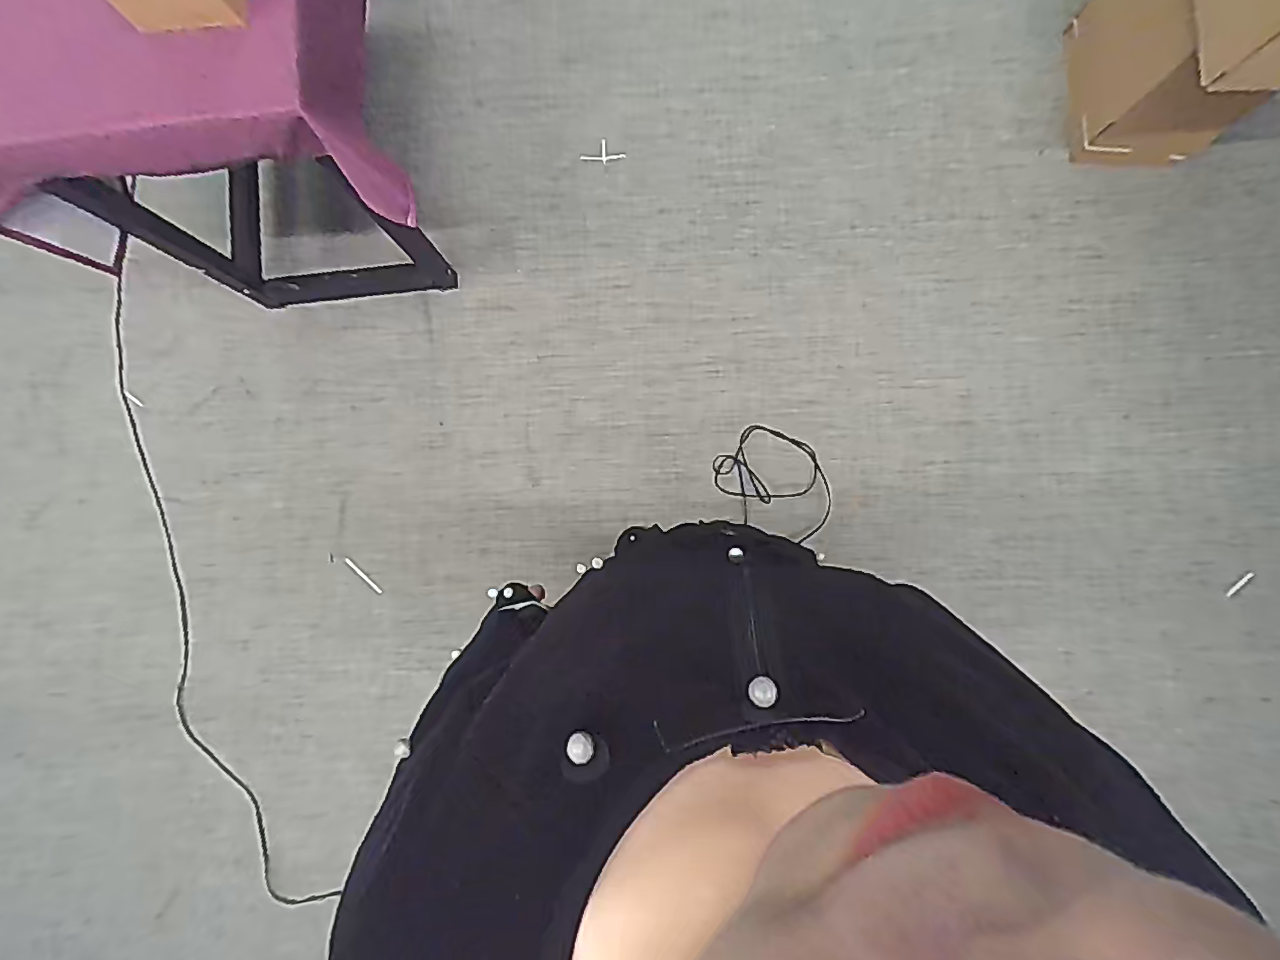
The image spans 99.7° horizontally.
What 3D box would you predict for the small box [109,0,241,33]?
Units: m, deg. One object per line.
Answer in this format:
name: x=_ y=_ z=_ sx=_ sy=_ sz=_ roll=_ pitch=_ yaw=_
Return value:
small box: x=-0.725 y=-0.810 z=0.798 sx=0.179 sy=0.176 sz=0.168 roll=-2 pitch=85 yaw=2
